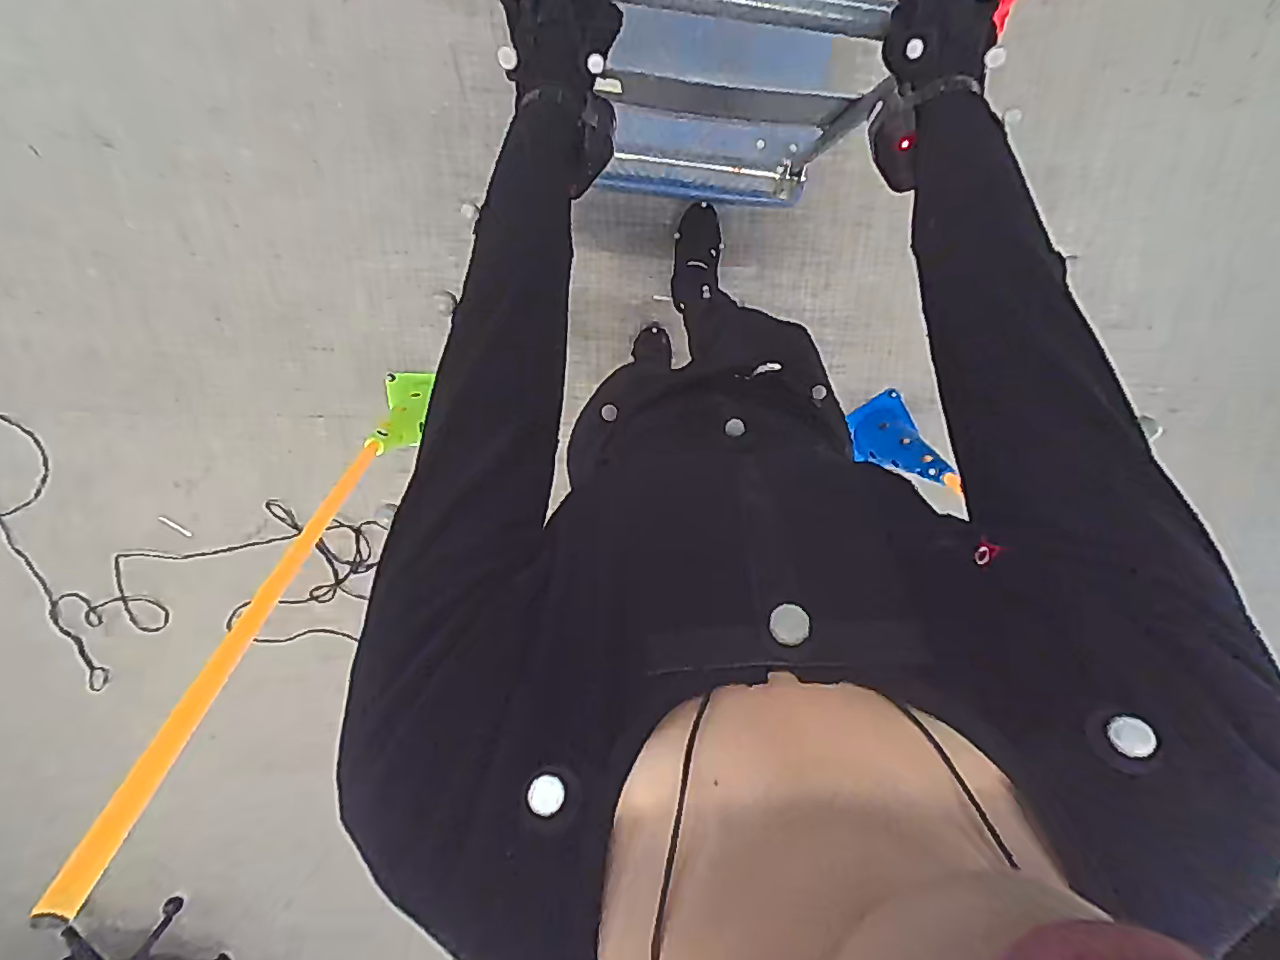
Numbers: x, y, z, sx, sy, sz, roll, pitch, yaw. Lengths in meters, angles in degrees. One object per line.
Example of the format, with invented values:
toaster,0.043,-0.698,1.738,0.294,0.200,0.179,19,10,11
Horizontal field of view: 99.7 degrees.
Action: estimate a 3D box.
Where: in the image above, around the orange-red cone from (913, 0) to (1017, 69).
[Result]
orange-red cone,0.728,-0.987,1.035,0.198,0.360,0.199,12,109,-6
